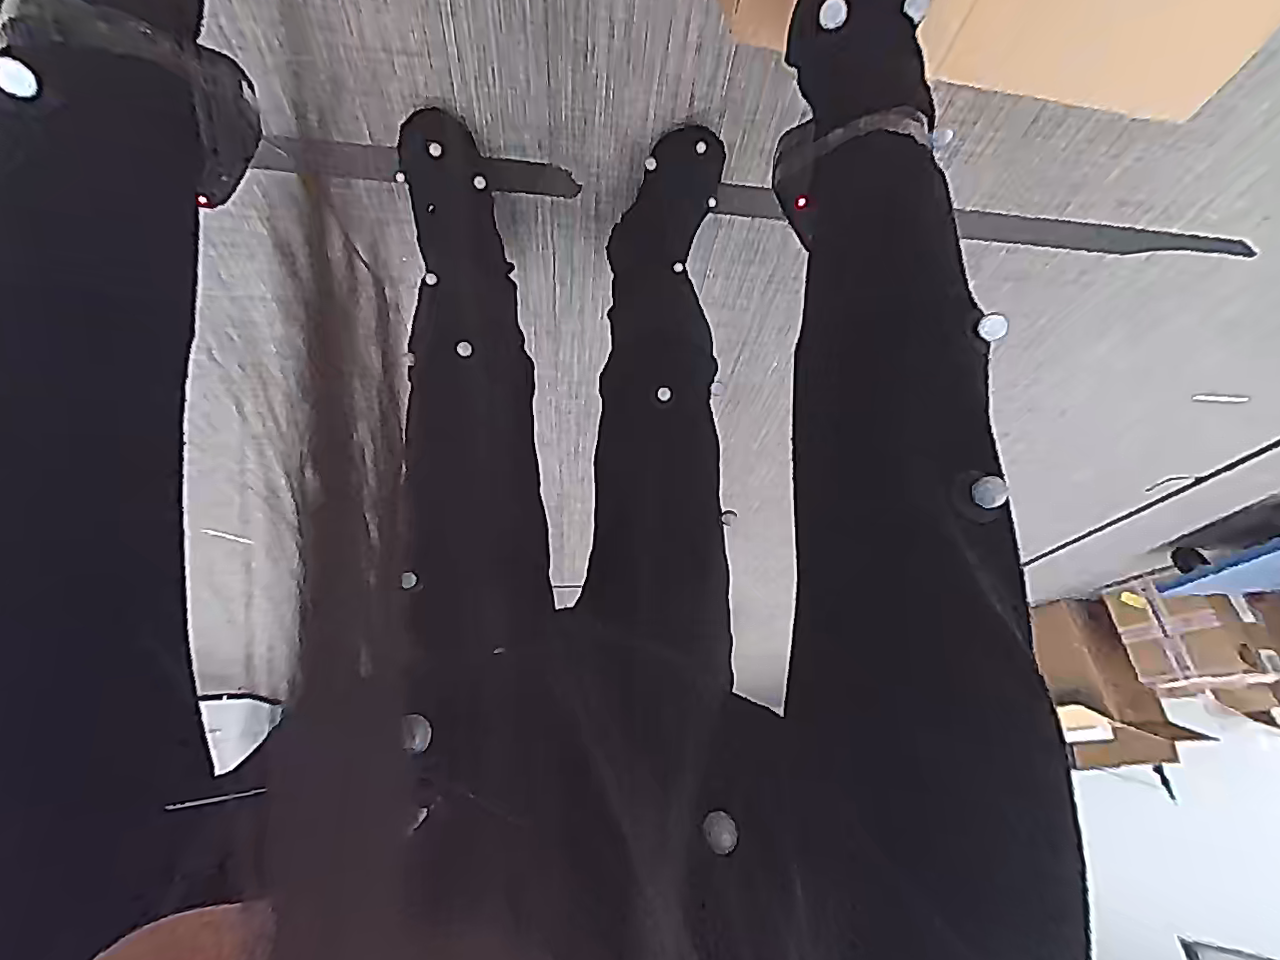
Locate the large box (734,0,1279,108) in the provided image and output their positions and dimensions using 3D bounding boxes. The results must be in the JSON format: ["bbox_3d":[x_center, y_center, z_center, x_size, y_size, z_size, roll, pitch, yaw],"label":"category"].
[{"bbox_3d":[0.282,-0.530,0.378,0.408,0.320,0.320,2,151,-10],"label":"large box"}]
